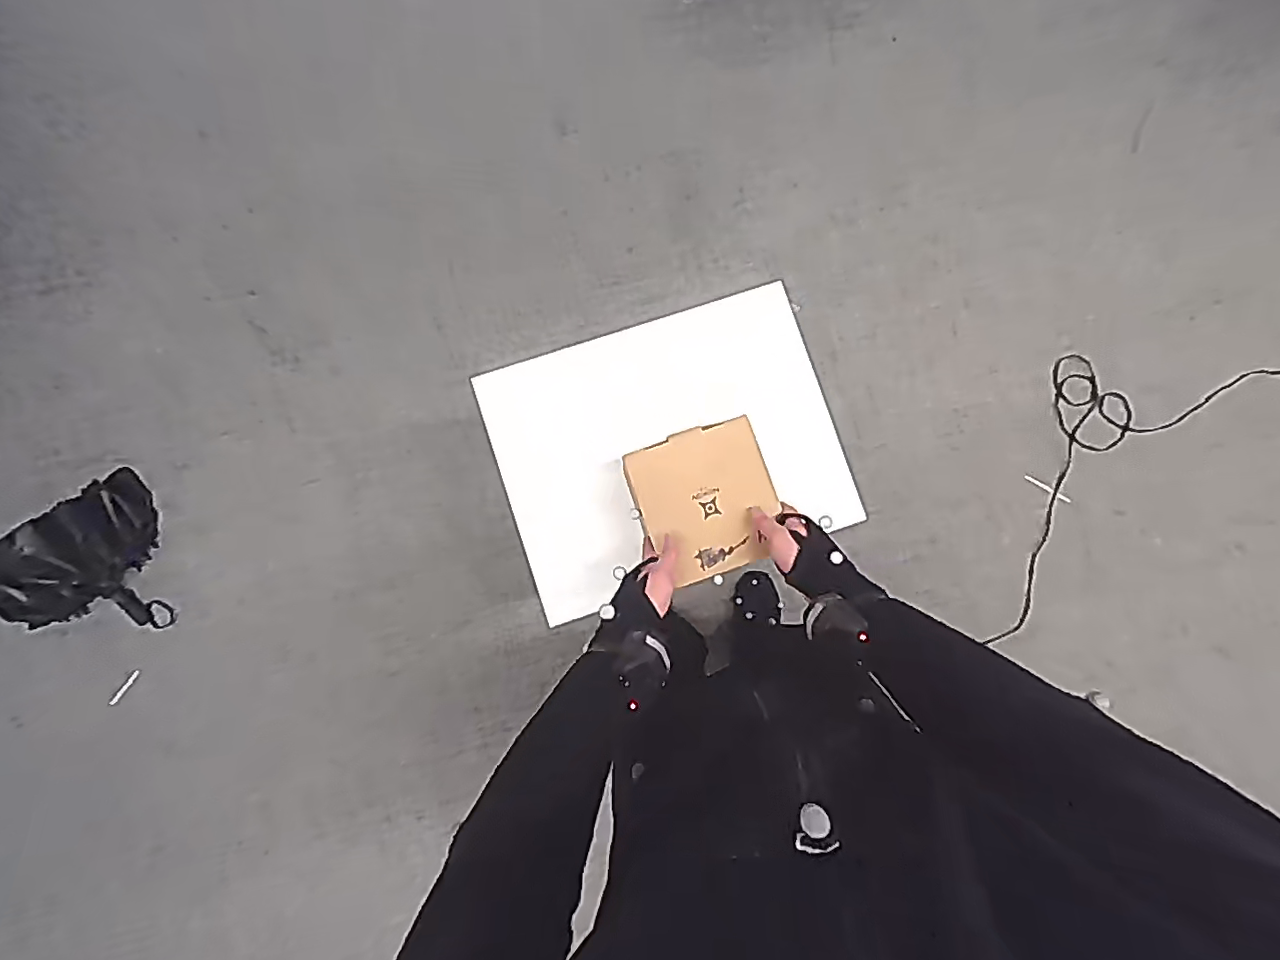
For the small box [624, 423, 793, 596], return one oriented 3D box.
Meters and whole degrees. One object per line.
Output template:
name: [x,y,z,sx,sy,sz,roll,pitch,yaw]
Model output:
small box: [0.080,0.044,0.739,0.168,0.176,0.179,-20,85,-4]
